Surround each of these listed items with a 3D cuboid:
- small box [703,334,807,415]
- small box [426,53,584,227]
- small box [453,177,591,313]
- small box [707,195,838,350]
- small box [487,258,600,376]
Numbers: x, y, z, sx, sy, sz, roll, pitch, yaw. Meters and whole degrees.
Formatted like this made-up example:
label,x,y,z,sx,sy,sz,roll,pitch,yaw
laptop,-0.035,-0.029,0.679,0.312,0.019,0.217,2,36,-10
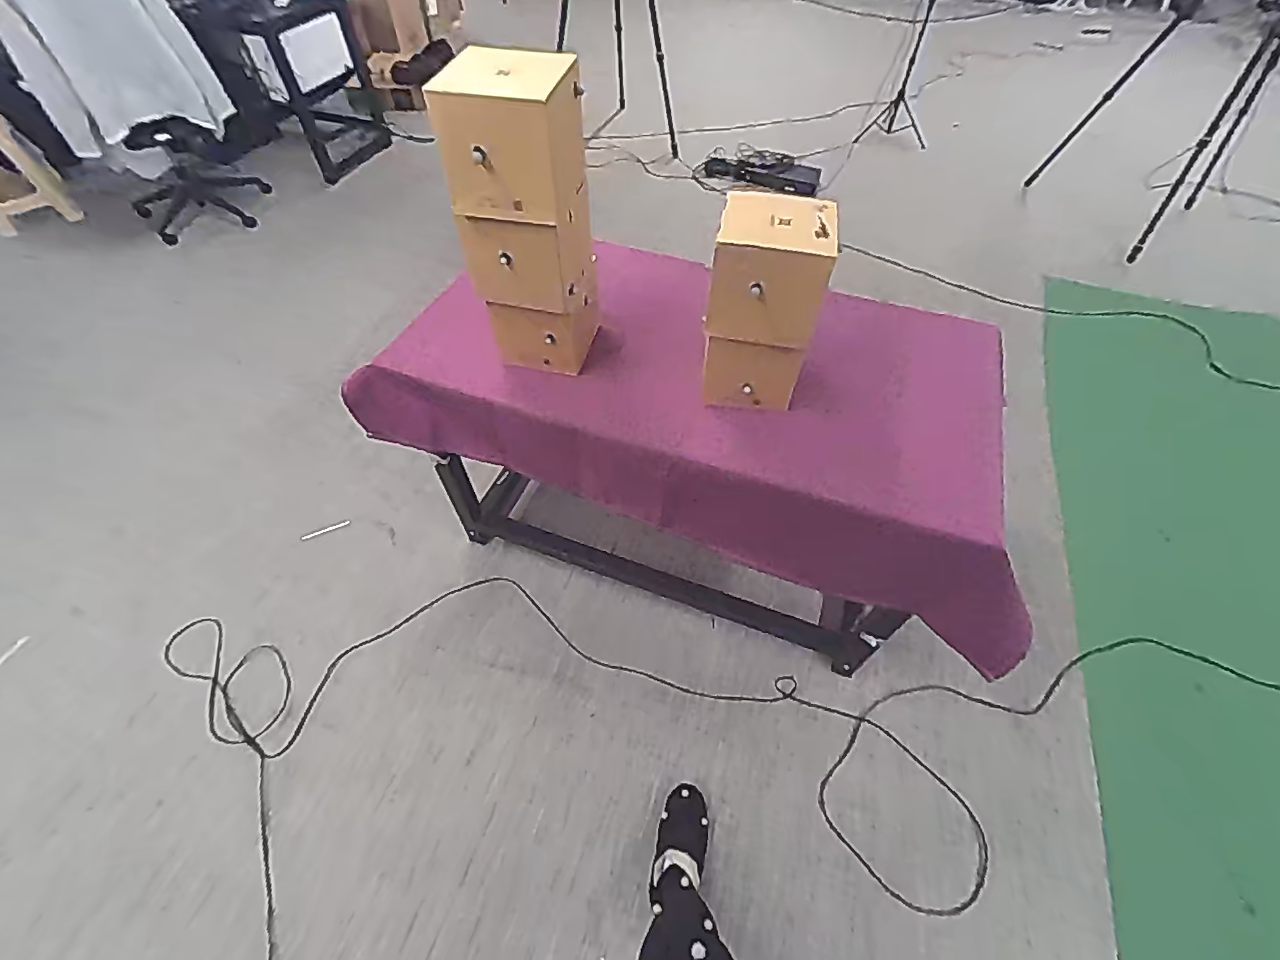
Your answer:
label,x,y,z,sx,sy,sz,roll,pitch,yaw
small box,0.211,-0.249,1.019,0.168,0.176,0.179,7,53,5
small box,-0.183,-0.500,0.800,0.168,0.176,0.179,9,53,5
small box,-0.190,-0.413,0.938,0.179,0.176,0.168,12,54,8
small box,0.209,-0.333,0.876,0.179,0.176,0.168,11,54,8
small box,-0.181,-0.333,1.083,0.168,0.176,0.179,12,53,8
